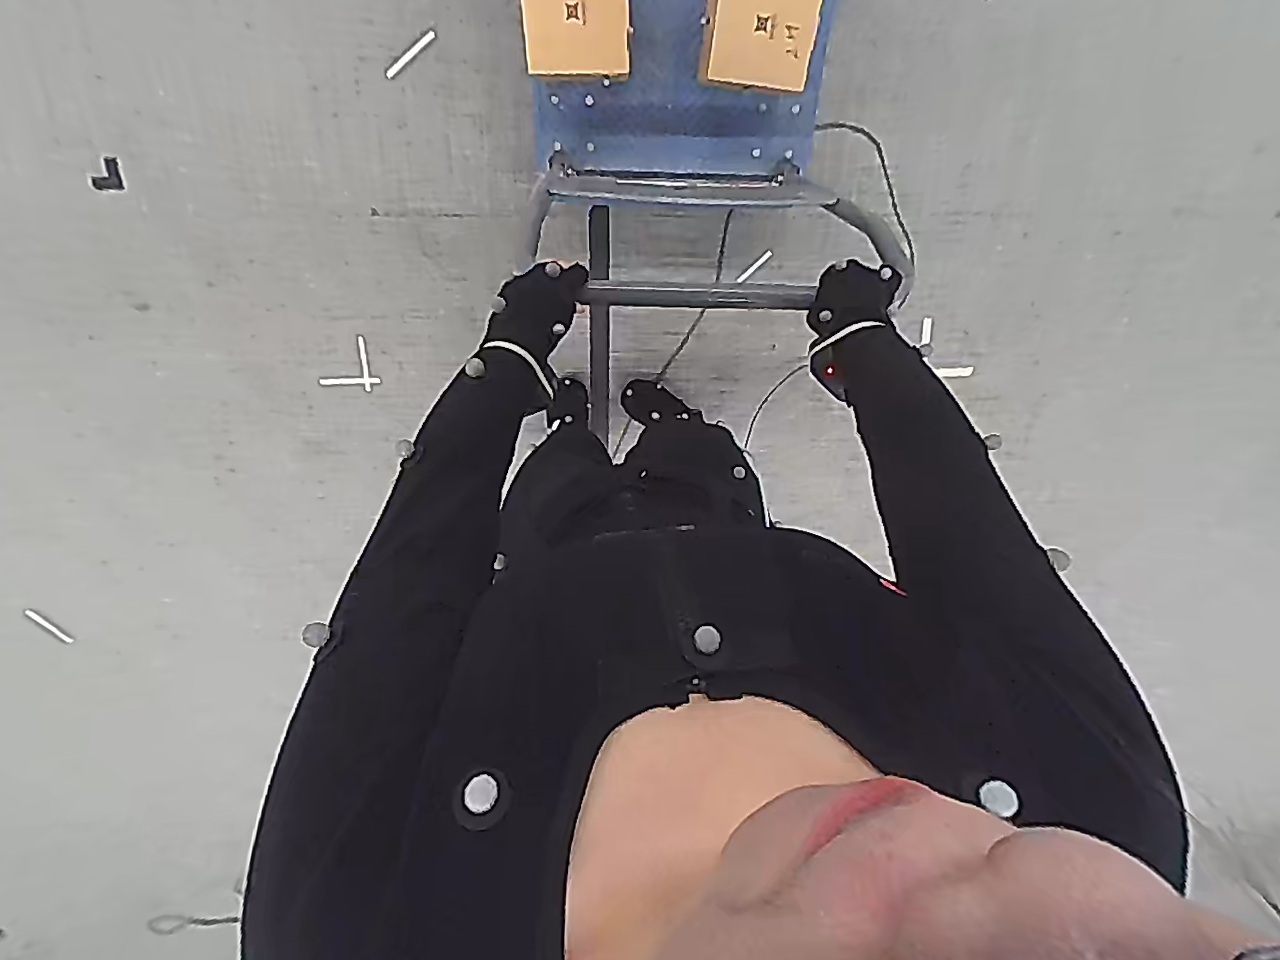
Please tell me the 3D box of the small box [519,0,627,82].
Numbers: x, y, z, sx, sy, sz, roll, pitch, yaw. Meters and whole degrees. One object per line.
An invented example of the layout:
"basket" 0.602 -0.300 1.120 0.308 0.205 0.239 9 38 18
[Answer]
"small box" -0.112 -0.806 0.948 0.179 0.176 0.168 -2 123 -2

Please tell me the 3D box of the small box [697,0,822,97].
"small box" 0.205 -0.798 0.968 0.179 0.176 0.168 5 123 -5
